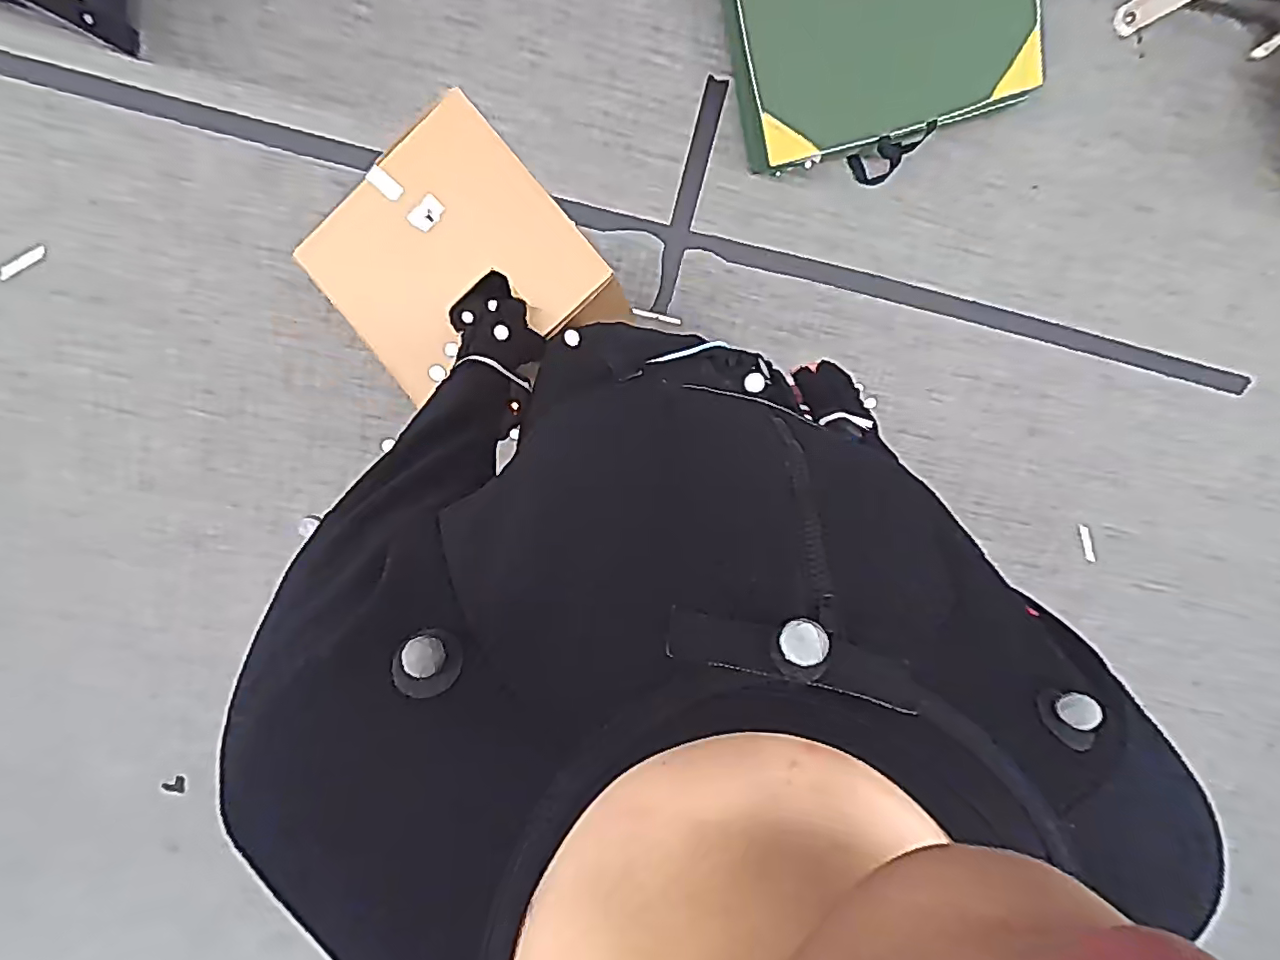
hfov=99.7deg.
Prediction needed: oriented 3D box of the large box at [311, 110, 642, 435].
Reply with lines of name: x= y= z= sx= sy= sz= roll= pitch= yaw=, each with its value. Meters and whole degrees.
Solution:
large box: x=-0.226 y=-0.295 z=0.907 sx=0.320 sy=0.408 sz=0.320 roll=-39 pitch=92 yaw=8
